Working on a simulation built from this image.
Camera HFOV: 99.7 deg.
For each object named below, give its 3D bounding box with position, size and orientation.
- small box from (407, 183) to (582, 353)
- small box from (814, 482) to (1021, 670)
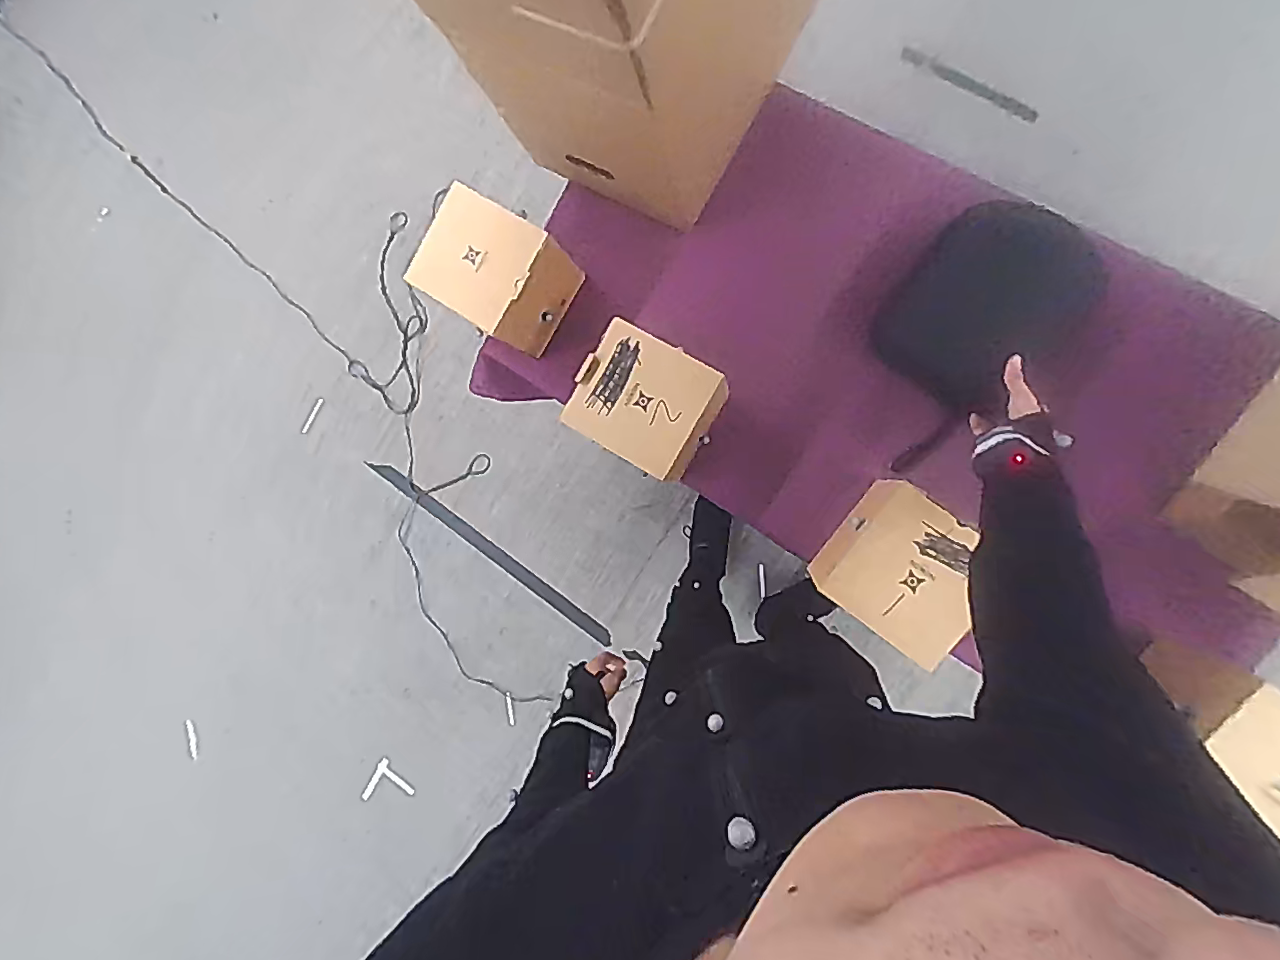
[{"bbox_3d":[-0.222,-0.323,0.864,0.179,0.176,0.168,33,97,9],"label":"small box"},{"bbox_3d":[0.357,0.116,0.742,0.168,0.176,0.179,37,98,10],"label":"small box"}]
